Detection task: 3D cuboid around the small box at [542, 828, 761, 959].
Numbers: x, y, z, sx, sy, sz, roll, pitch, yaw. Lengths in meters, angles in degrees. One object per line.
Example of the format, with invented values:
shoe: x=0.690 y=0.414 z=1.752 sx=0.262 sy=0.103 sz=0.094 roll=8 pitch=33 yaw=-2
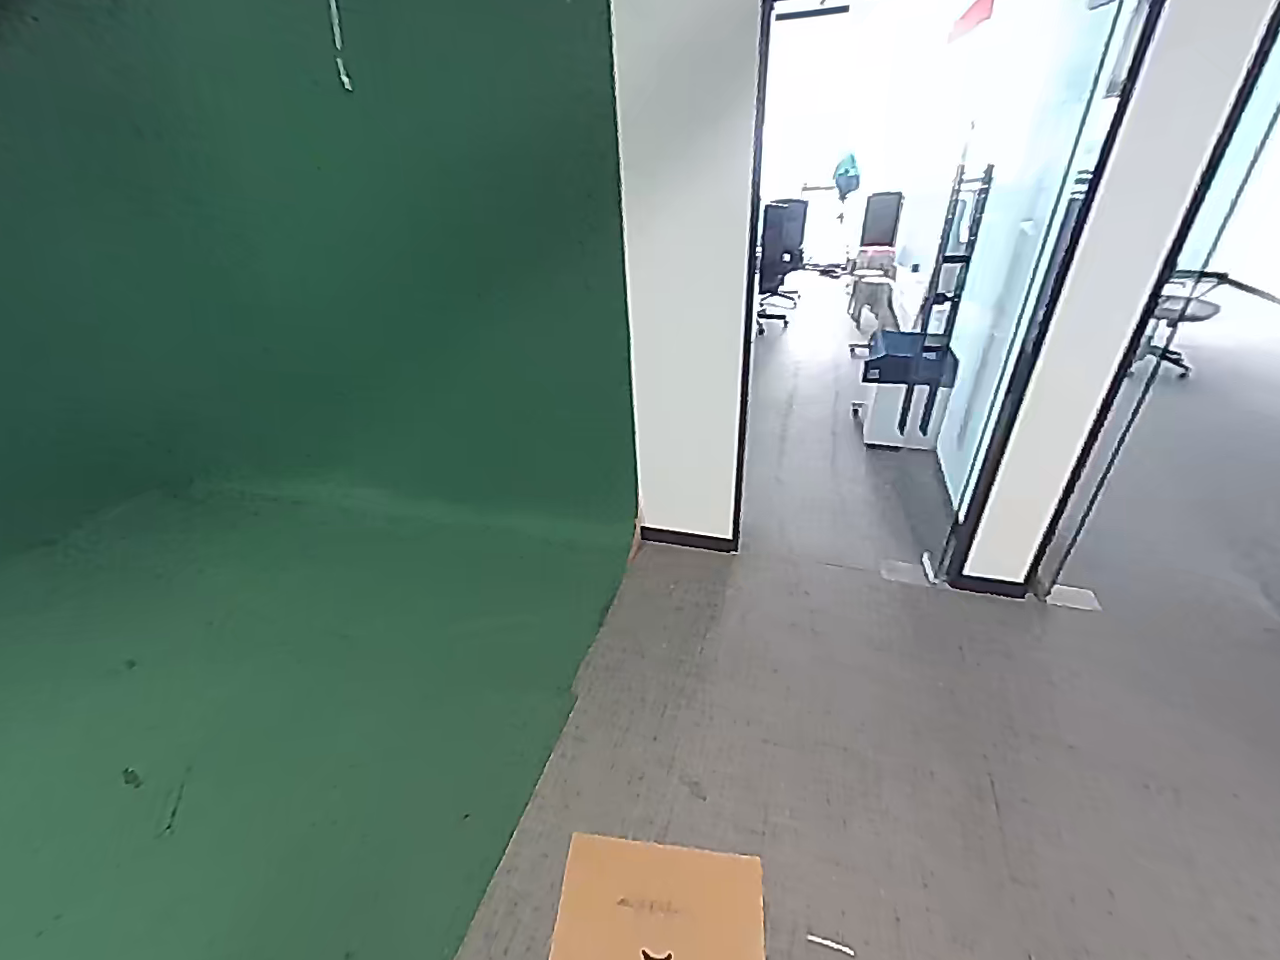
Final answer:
small box: x=0.007 y=0.425 z=0.447 sx=0.168 sy=0.176 sz=0.179 roll=5 pitch=40 yaw=5
